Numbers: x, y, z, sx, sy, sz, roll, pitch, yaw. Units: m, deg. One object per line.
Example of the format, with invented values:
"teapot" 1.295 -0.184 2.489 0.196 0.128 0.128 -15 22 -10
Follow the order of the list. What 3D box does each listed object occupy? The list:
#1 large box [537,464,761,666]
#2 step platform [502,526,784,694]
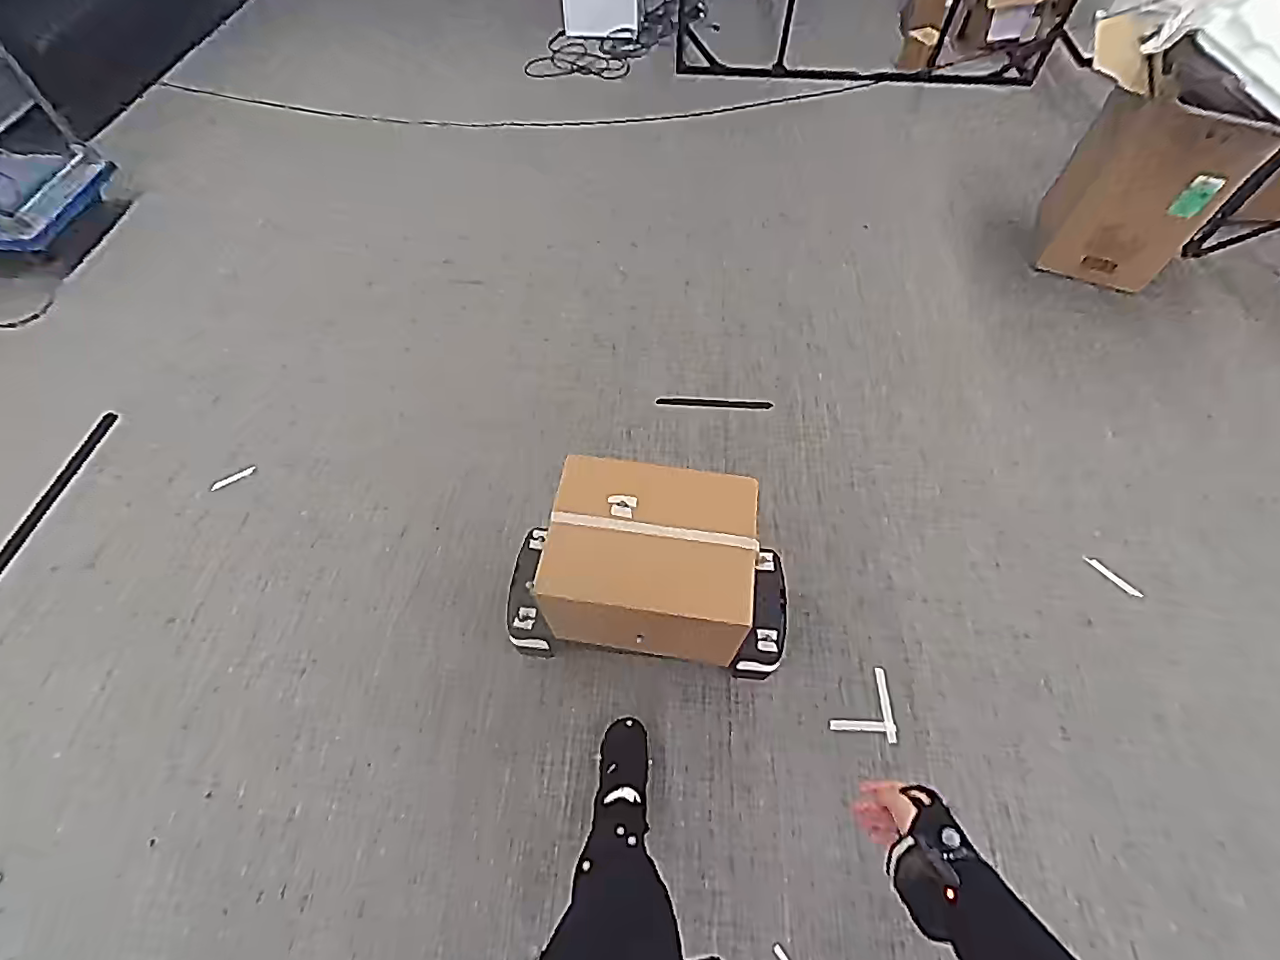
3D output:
"large box" 0.034 0.190 1.160 0.408 0.320 0.320 6 58 6
"step platform" 0.010 0.318 1.362 0.684 0.204 0.286 8 58 7
